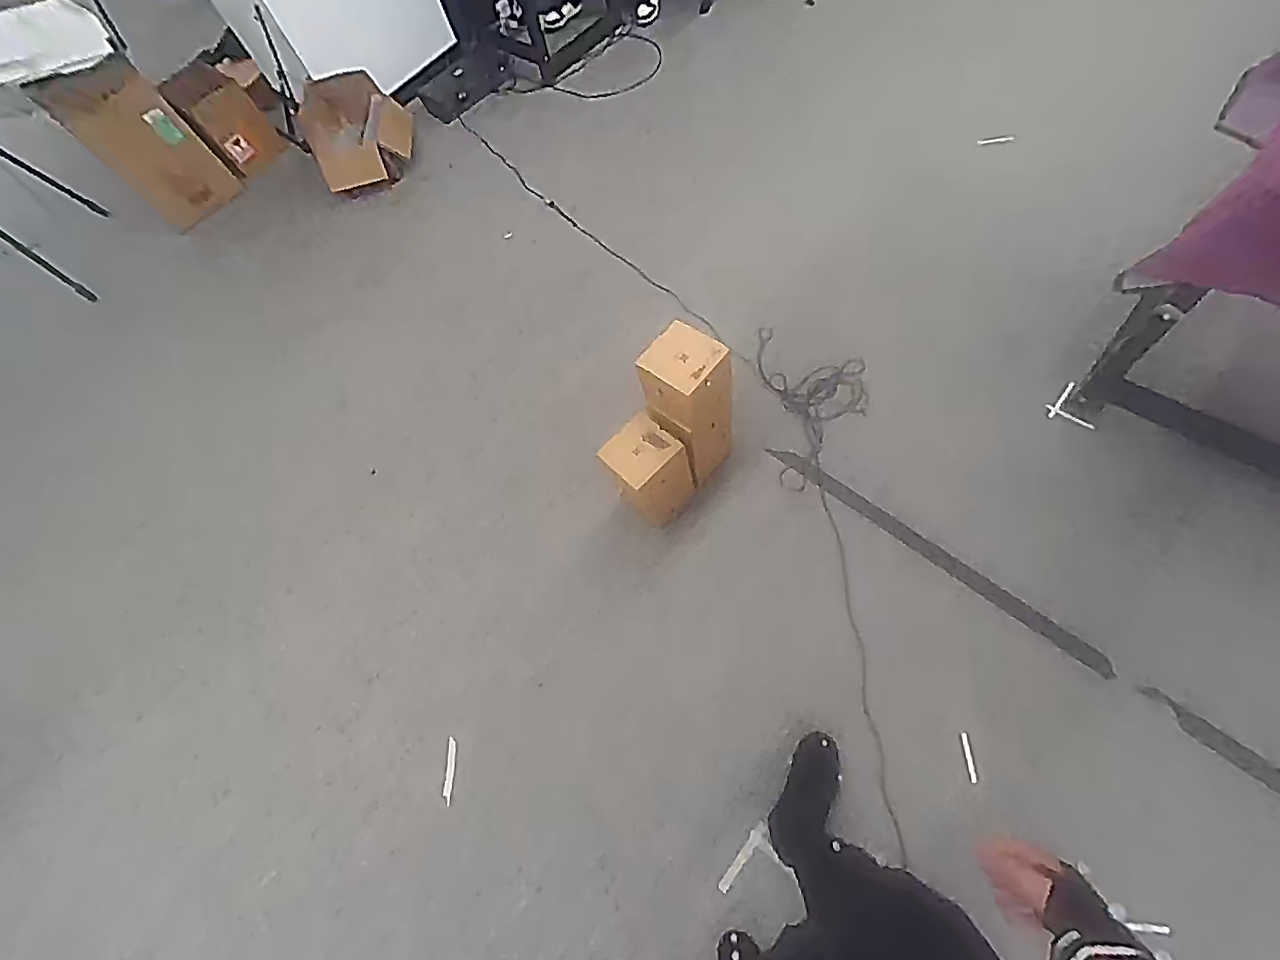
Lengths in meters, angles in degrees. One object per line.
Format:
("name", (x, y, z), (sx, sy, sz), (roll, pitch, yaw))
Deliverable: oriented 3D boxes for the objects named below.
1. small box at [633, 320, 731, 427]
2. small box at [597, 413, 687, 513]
("small box", (0.113, -0.263, 1.369), (0.179, 0.176, 0.168), (35, 78, 25))
("small box", (0.014, -0.043, 1.472), (0.179, 0.176, 0.168), (-45, 64, -8))
